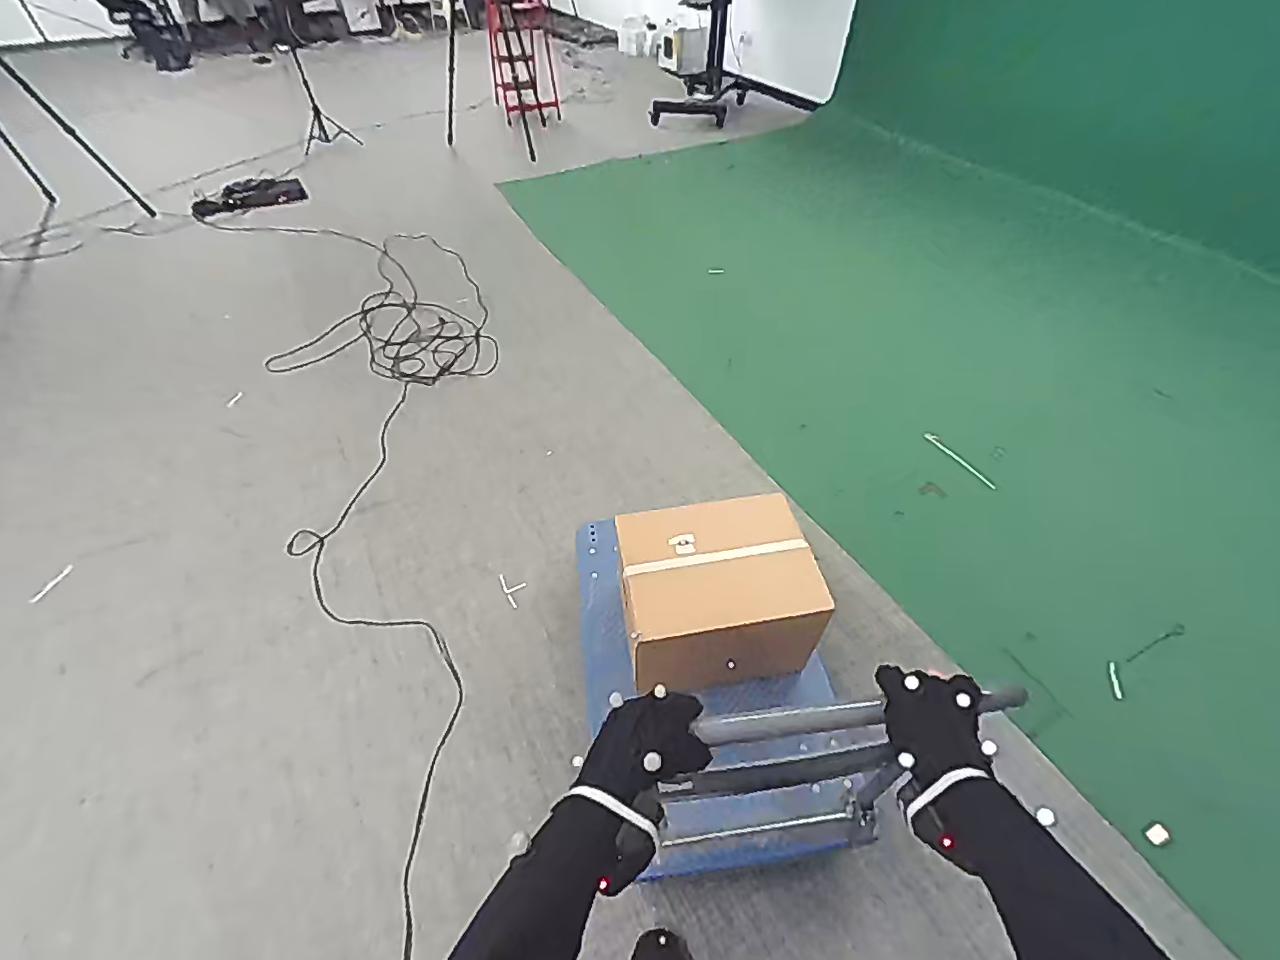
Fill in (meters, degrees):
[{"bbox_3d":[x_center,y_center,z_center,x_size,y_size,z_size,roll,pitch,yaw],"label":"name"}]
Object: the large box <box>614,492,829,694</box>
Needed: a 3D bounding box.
[{"bbox_3d":[0.165,0.267,1.272,0.408,0.320,0.320,-9,49,-6],"label":"large box"}]
